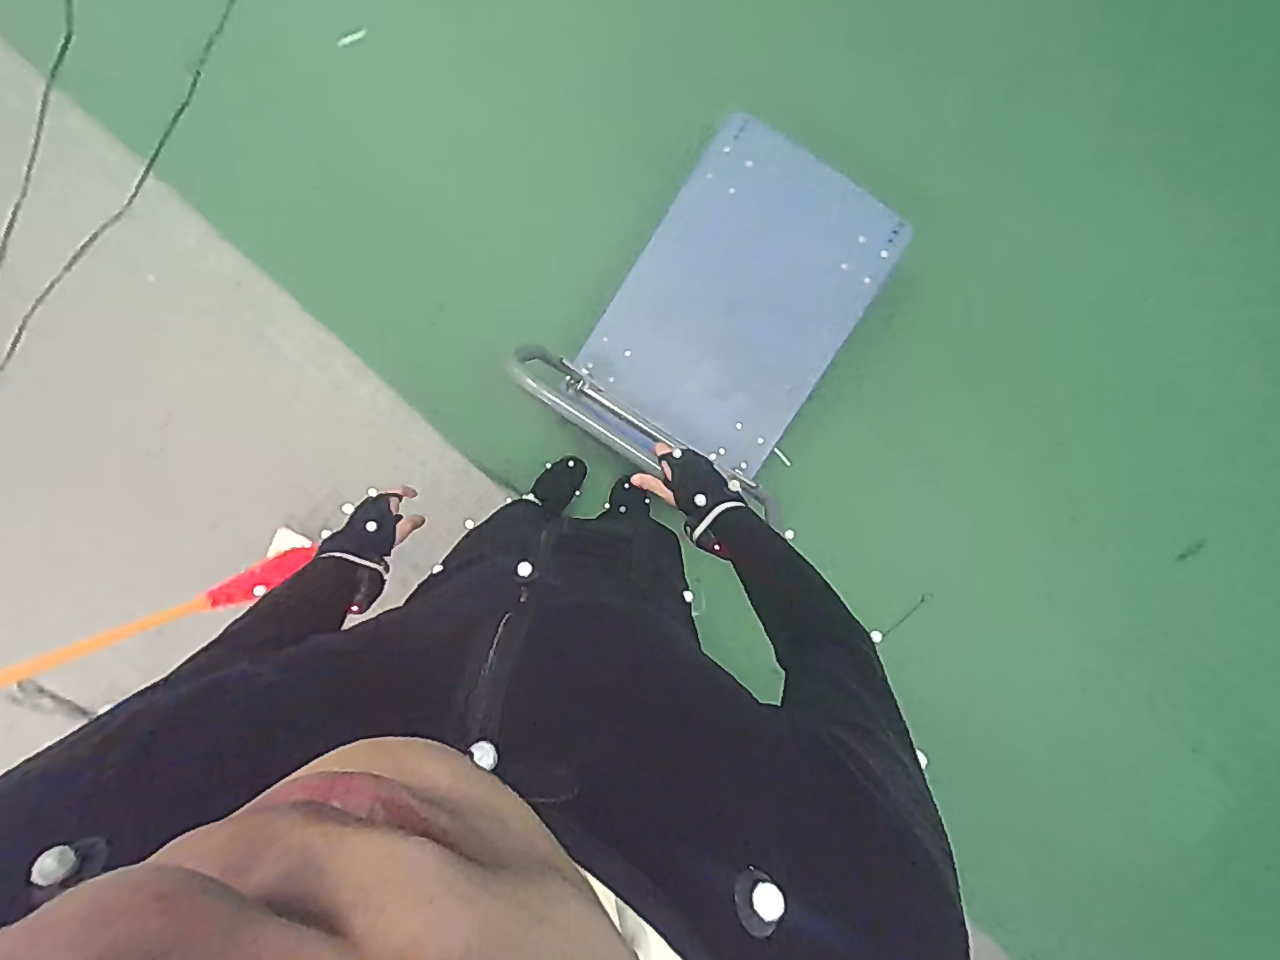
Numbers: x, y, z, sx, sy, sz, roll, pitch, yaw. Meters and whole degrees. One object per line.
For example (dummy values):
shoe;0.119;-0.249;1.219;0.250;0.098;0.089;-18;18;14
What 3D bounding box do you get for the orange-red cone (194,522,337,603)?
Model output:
orange-red cone;-1.043;0.259;1.463;0.199;0.360;0.198;29;93;0
